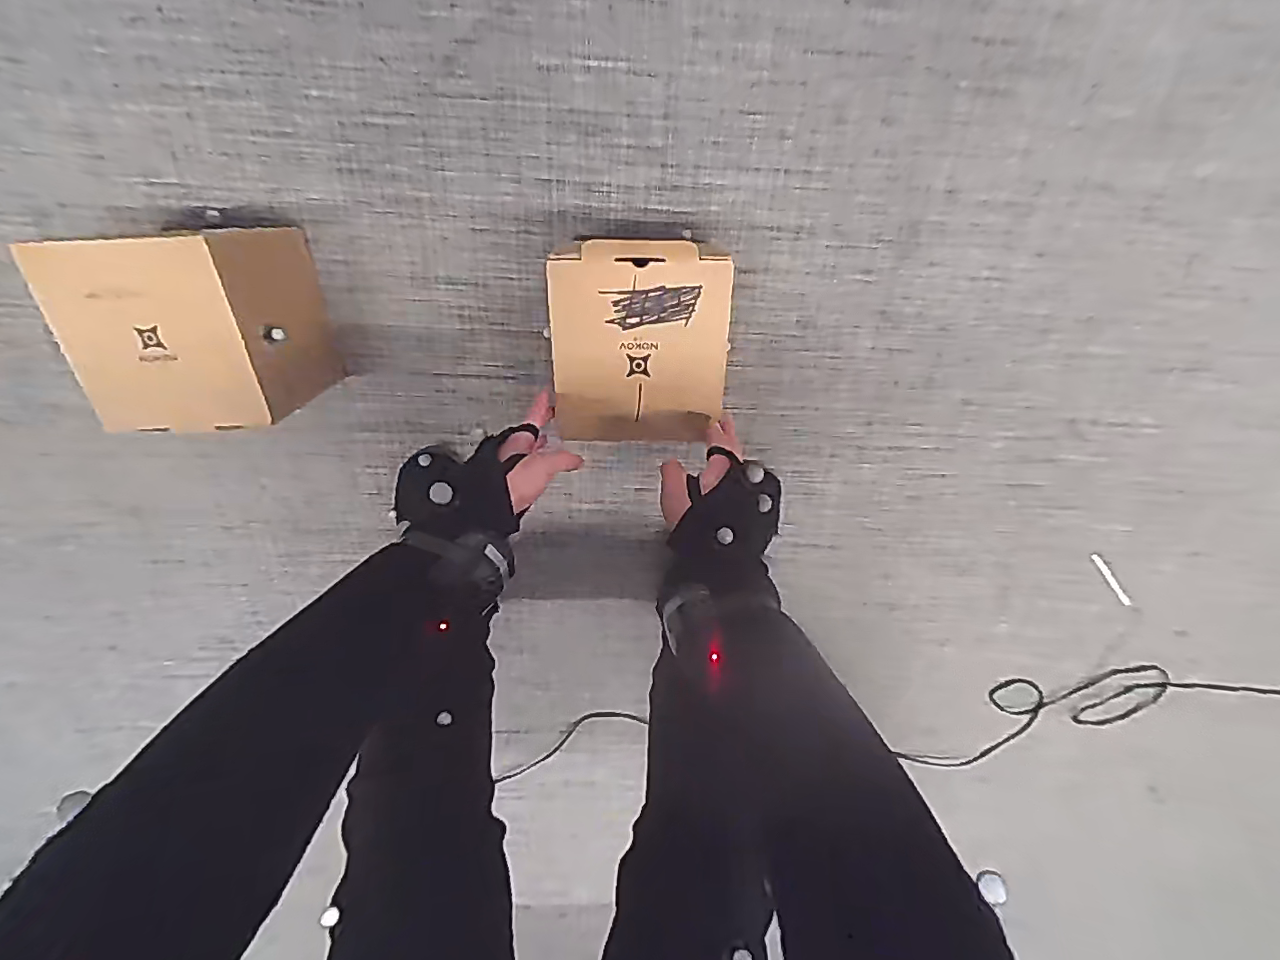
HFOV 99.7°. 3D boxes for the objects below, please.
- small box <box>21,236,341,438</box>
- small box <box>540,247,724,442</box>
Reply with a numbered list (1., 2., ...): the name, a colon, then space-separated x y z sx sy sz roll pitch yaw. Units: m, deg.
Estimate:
1. small box: -0.454 -0.159 0.578 0.168 0.176 0.179 -4 116 0
2. small box: -0.008 -0.152 0.580 0.168 0.176 0.179 0 117 1
